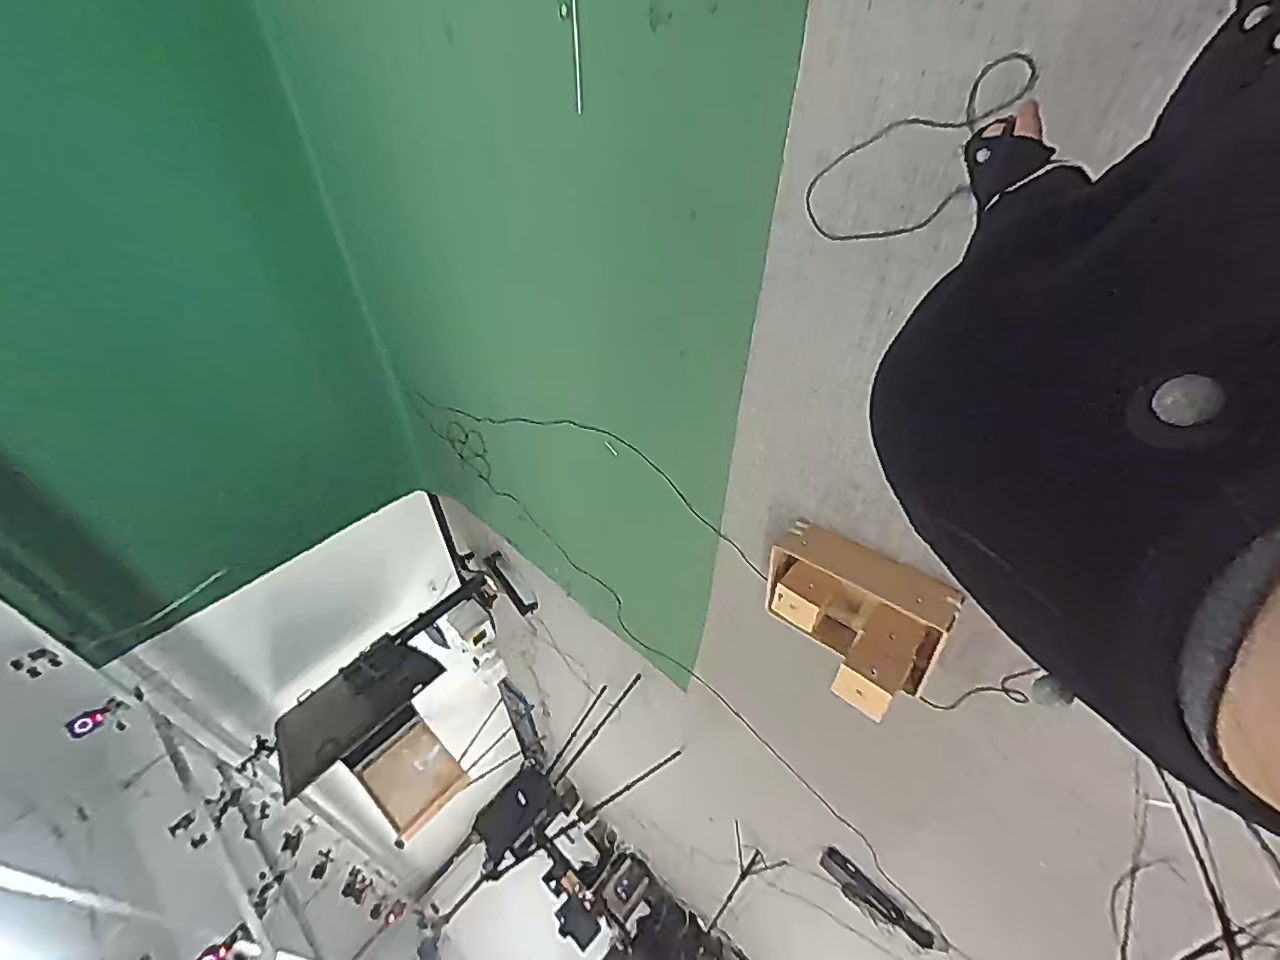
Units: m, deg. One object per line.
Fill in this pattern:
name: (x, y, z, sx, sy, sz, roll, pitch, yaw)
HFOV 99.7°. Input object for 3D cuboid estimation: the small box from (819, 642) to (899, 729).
small box: (0.733, 0.680, 1.806, 0.179, 0.176, 0.168, 31, 137, 31)

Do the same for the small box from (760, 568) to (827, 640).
small box: (0.591, 0.469, 2.077, 0.179, 0.176, 0.168, 30, 138, 29)
